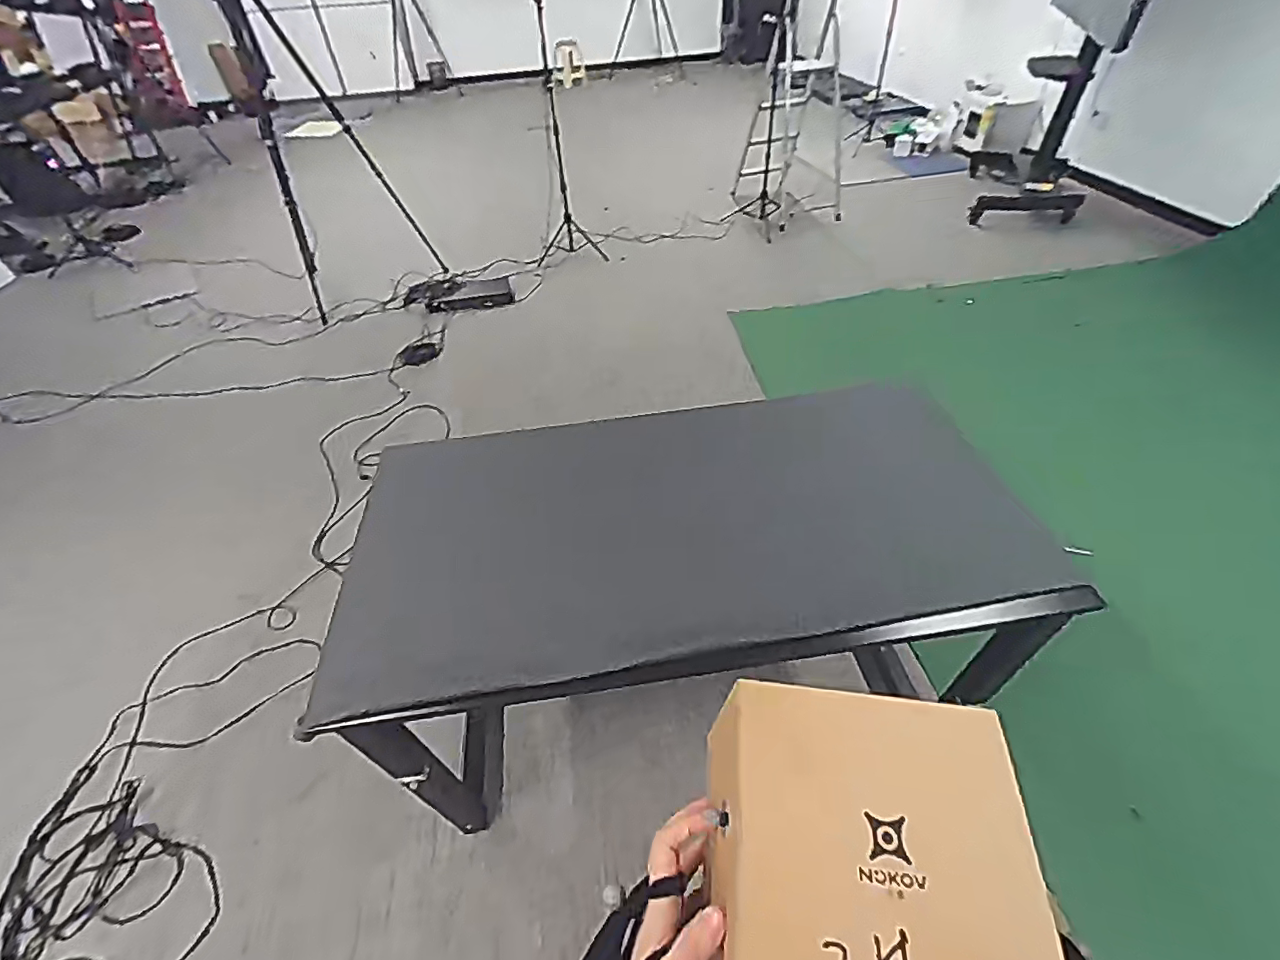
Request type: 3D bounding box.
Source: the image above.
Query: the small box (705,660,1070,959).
[{"bbox_3d":[0.135,0.243,0.364,0.168,0.176,0.179,5,53,3],"label":"small box"}]
